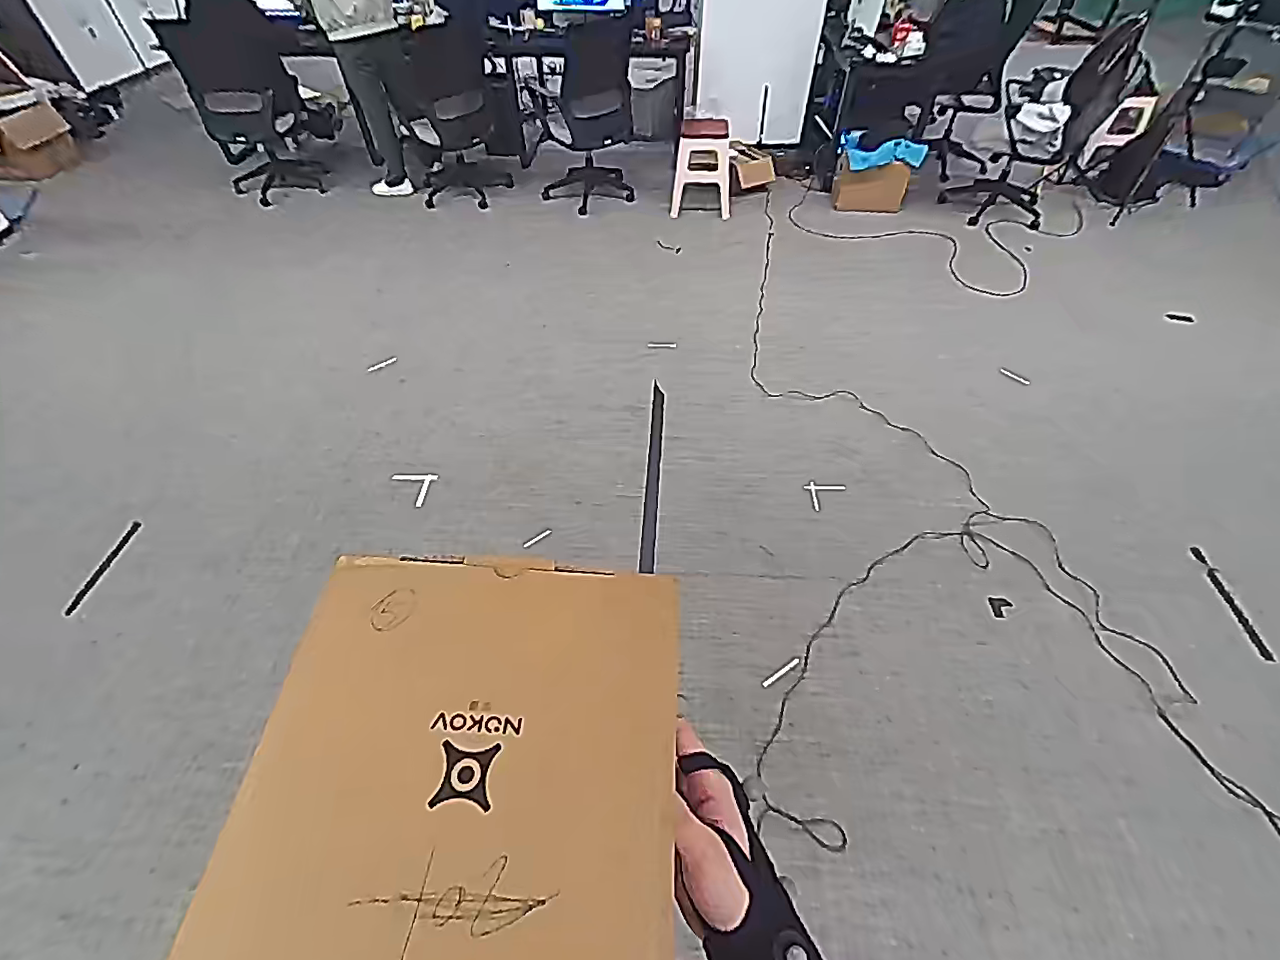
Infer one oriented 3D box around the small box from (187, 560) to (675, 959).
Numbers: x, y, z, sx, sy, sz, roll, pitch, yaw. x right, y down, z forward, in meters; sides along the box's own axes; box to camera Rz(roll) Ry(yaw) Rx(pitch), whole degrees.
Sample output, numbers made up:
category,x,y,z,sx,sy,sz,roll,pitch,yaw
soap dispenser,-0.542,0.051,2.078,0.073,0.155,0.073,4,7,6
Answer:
category,x,y,z,sx,sy,sz,roll,pitch,yaw
small box,-0.074,0.163,0.289,0.168,0.176,0.179,4,56,-1
